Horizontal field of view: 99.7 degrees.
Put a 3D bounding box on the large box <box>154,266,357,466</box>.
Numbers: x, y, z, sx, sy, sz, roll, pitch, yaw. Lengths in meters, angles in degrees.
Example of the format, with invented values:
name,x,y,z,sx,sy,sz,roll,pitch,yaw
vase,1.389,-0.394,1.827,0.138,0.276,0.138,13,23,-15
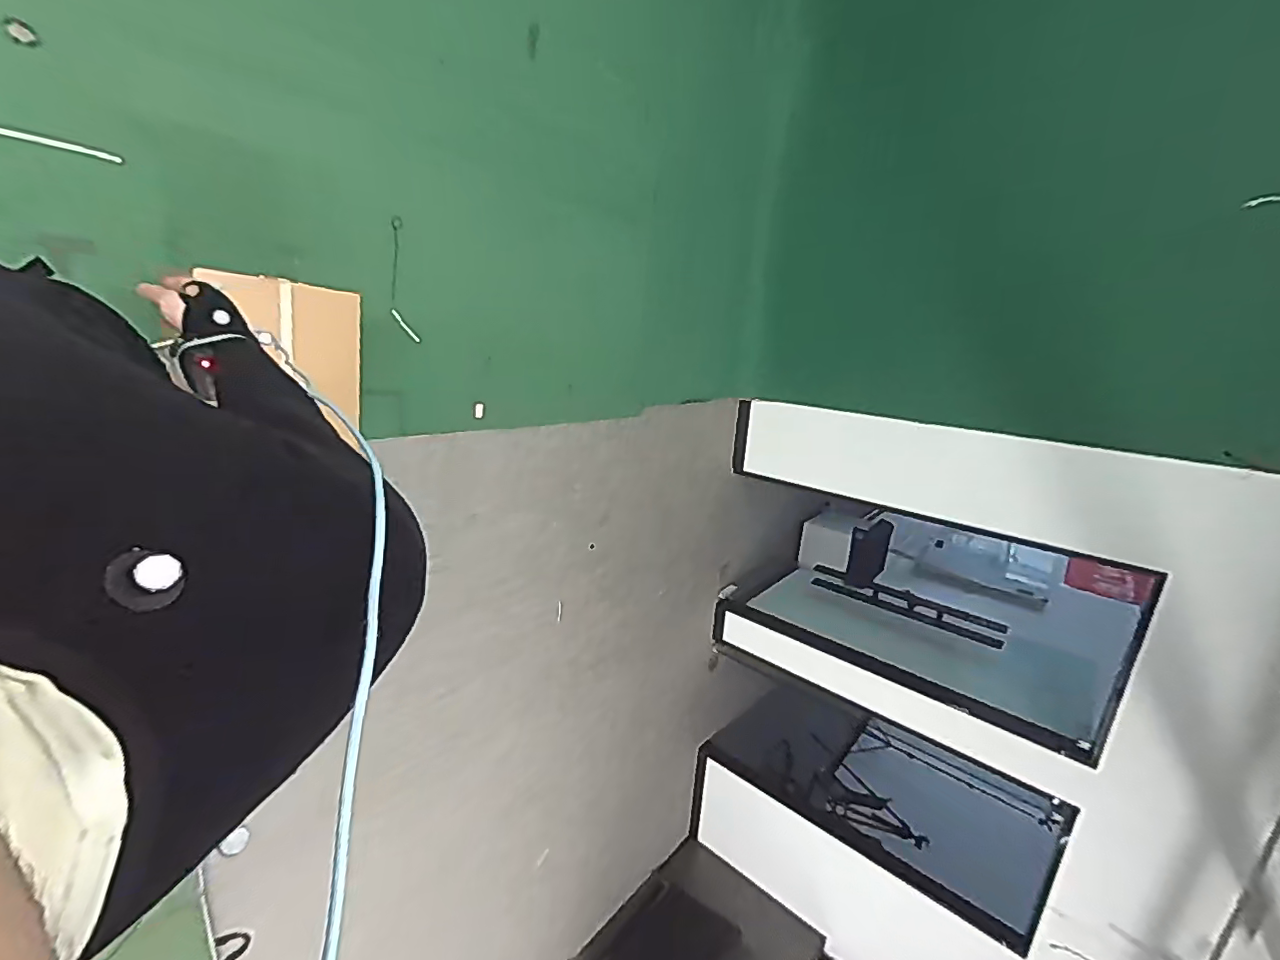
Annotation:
name,x,y,z,sx,sy,sz,roll,pitch,yaw
large box,-0.901,-0.273,1.285,0.320,0.320,0.408,-9,111,-50
